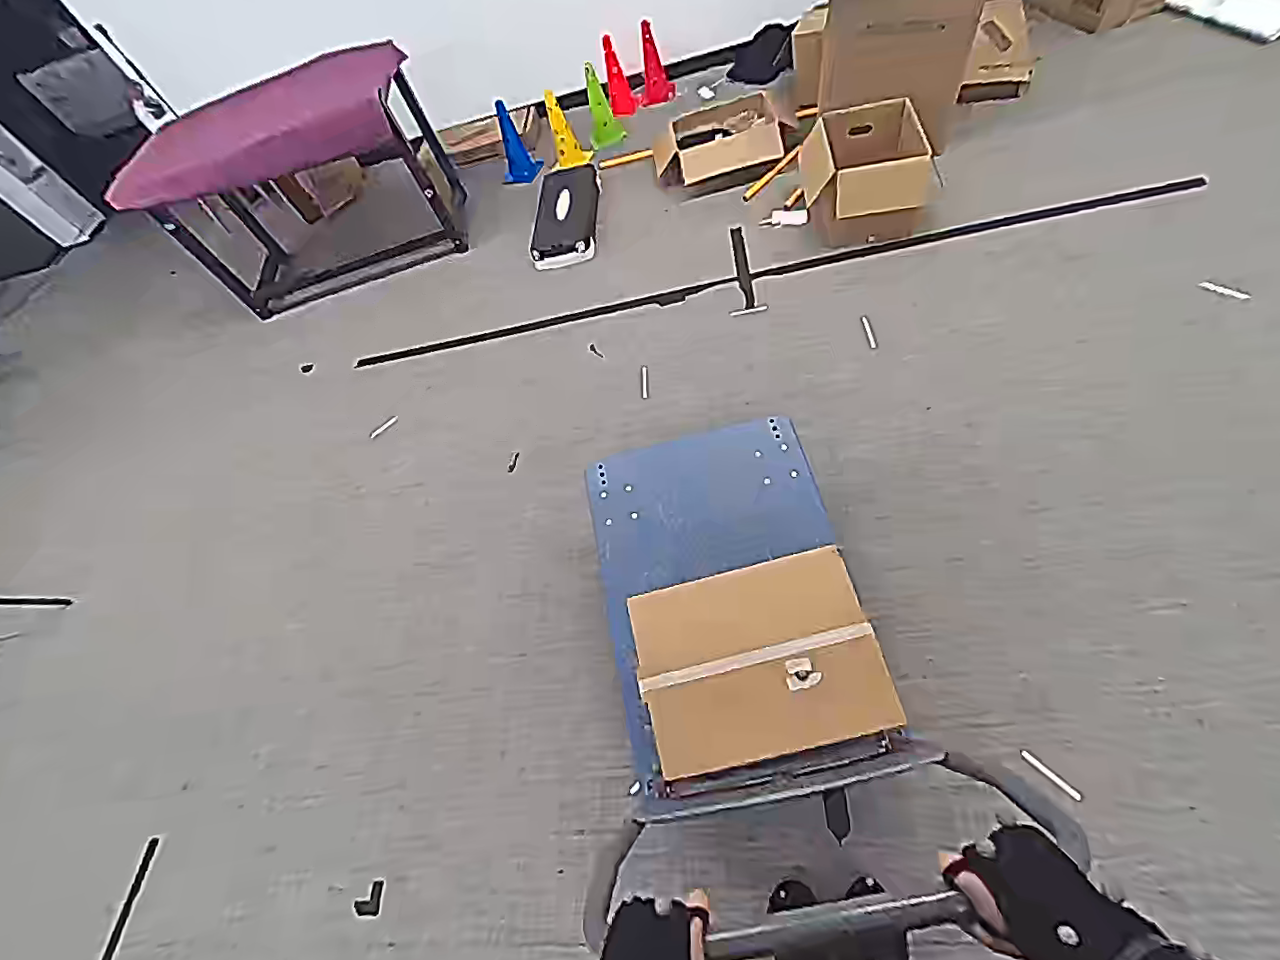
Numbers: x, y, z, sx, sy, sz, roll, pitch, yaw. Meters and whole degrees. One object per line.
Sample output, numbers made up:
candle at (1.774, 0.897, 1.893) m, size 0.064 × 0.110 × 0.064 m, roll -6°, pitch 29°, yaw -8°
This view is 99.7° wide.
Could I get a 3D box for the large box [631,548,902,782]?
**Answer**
large box at (0.228, 0.374, 1.086) m, size 0.408 × 0.320 × 0.320 m, roll -16°, pitch 65°, yaw 3°
